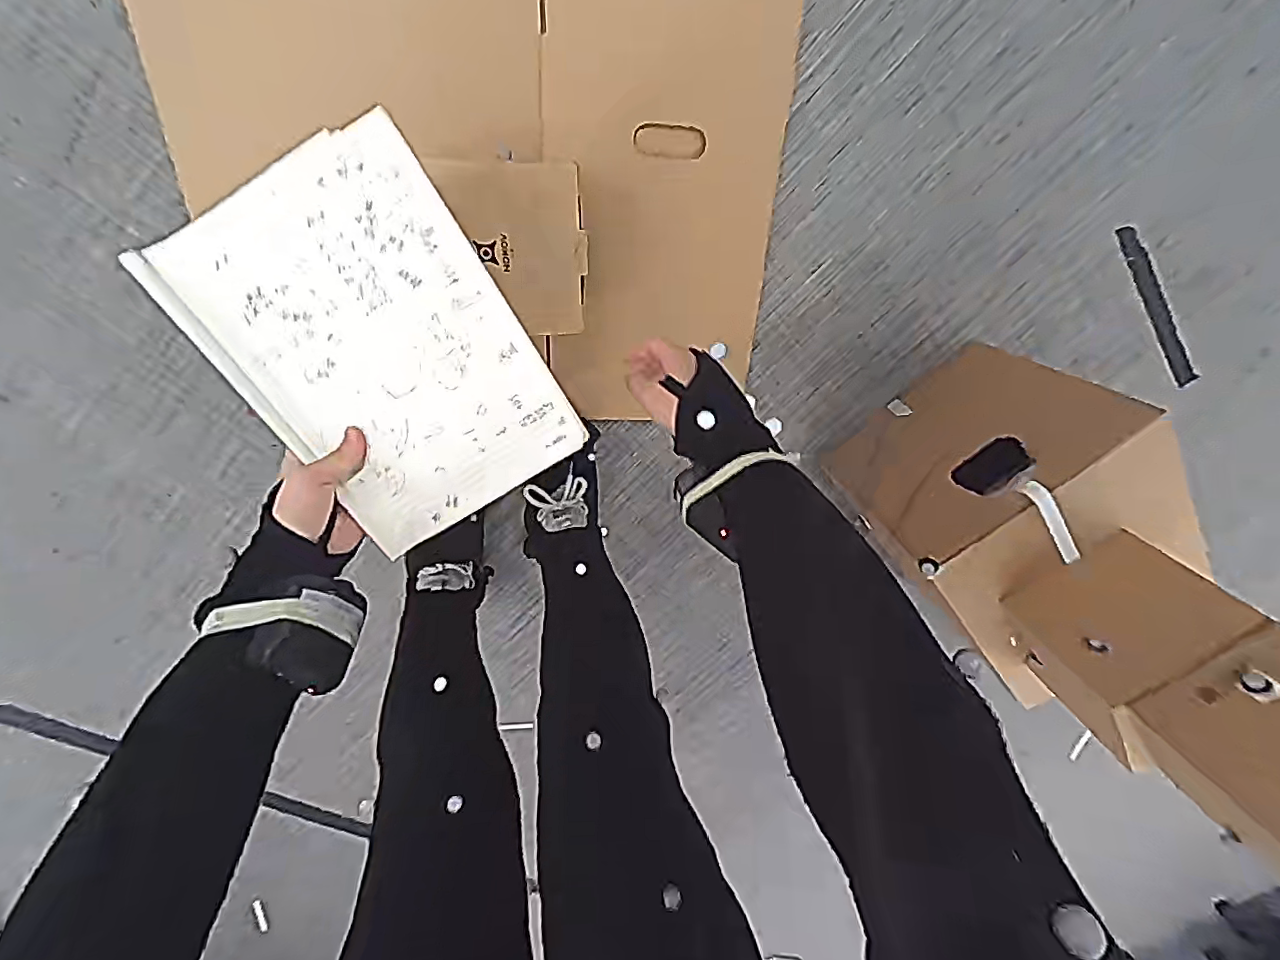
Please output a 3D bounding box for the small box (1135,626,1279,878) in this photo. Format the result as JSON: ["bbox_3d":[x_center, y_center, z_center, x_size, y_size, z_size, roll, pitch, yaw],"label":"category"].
[{"bbox_3d":[0.630,0.272,0.506,0.168,0.176,0.179,-41,117,11],"label":"small box"}]

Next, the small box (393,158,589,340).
[{"bbox_3d":[-0.155,-0.261,0.603,0.179,0.176,0.168,-5,120,-10],"label":"small box"}]
